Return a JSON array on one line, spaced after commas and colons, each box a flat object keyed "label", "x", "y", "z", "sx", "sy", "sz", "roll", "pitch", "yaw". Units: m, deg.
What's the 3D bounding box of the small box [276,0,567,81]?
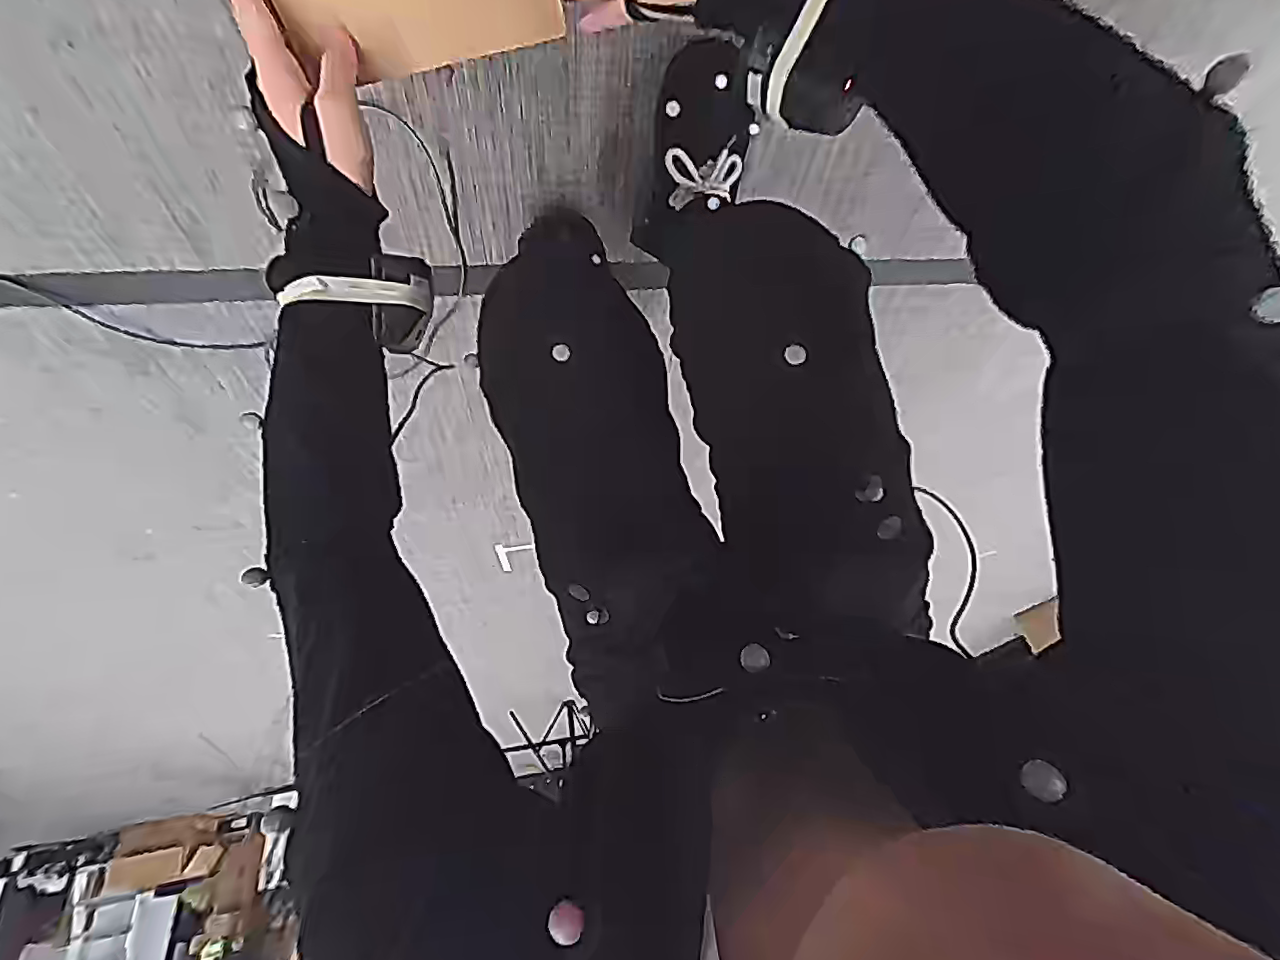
[{"label": "small box", "x": -0.158, "y": -0.393, "z": 0.350, "sx": 0.179, "sy": 0.176, "sz": 0.168, "roll": -15, "pitch": 140, "yaw": -1}]
